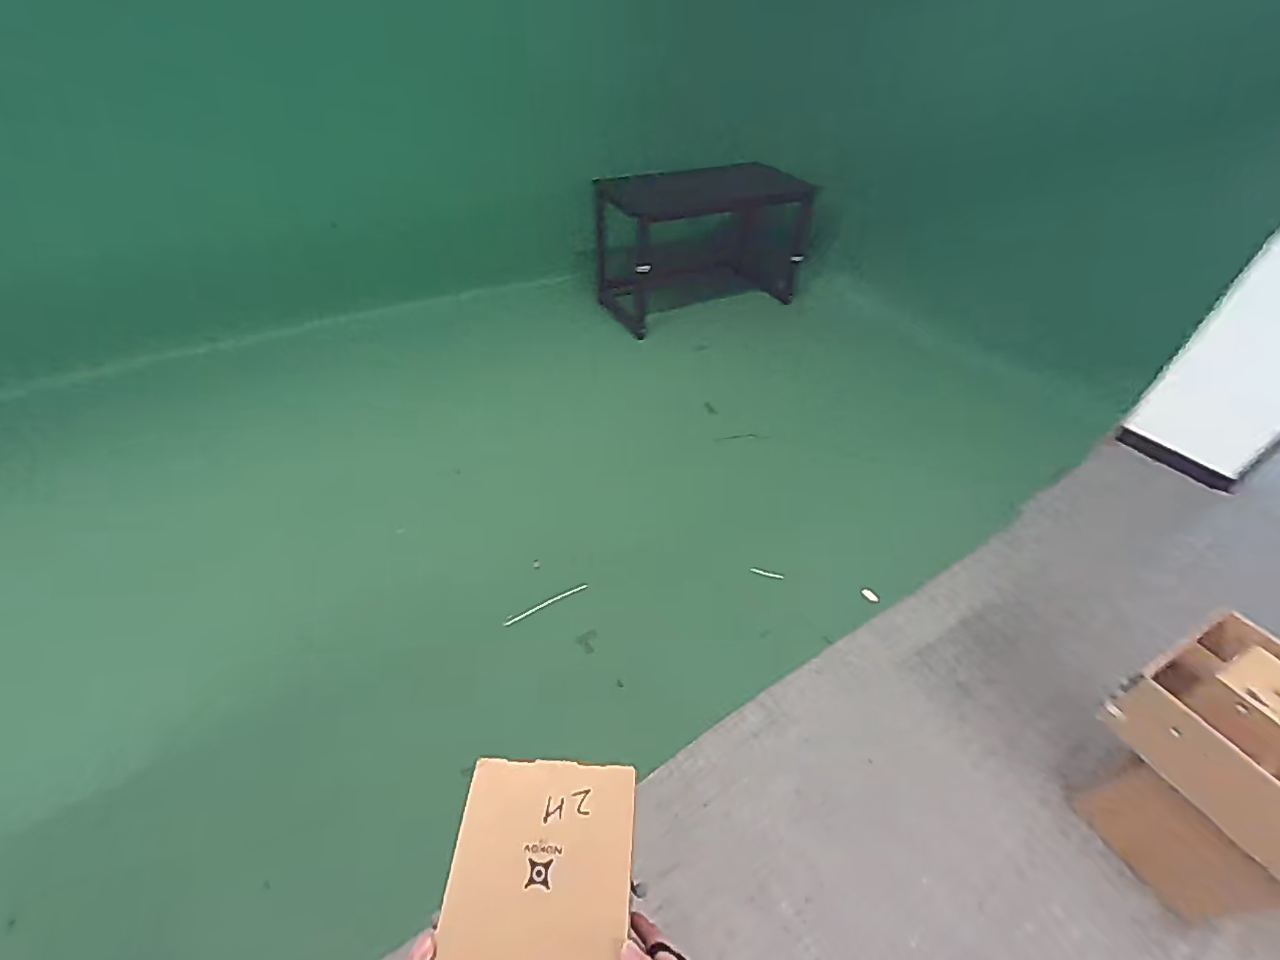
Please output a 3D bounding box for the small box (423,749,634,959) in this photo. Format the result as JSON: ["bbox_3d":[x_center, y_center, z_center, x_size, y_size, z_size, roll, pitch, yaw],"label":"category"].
[{"bbox_3d":[-0.094,0.403,0.557,0.168,0.176,0.179,4,45,2],"label":"small box"}]

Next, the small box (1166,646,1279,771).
[{"bbox_3d":[1.340,0.505,1.196,0.179,0.176,0.168,-17,46,-20],"label":"small box"}]
